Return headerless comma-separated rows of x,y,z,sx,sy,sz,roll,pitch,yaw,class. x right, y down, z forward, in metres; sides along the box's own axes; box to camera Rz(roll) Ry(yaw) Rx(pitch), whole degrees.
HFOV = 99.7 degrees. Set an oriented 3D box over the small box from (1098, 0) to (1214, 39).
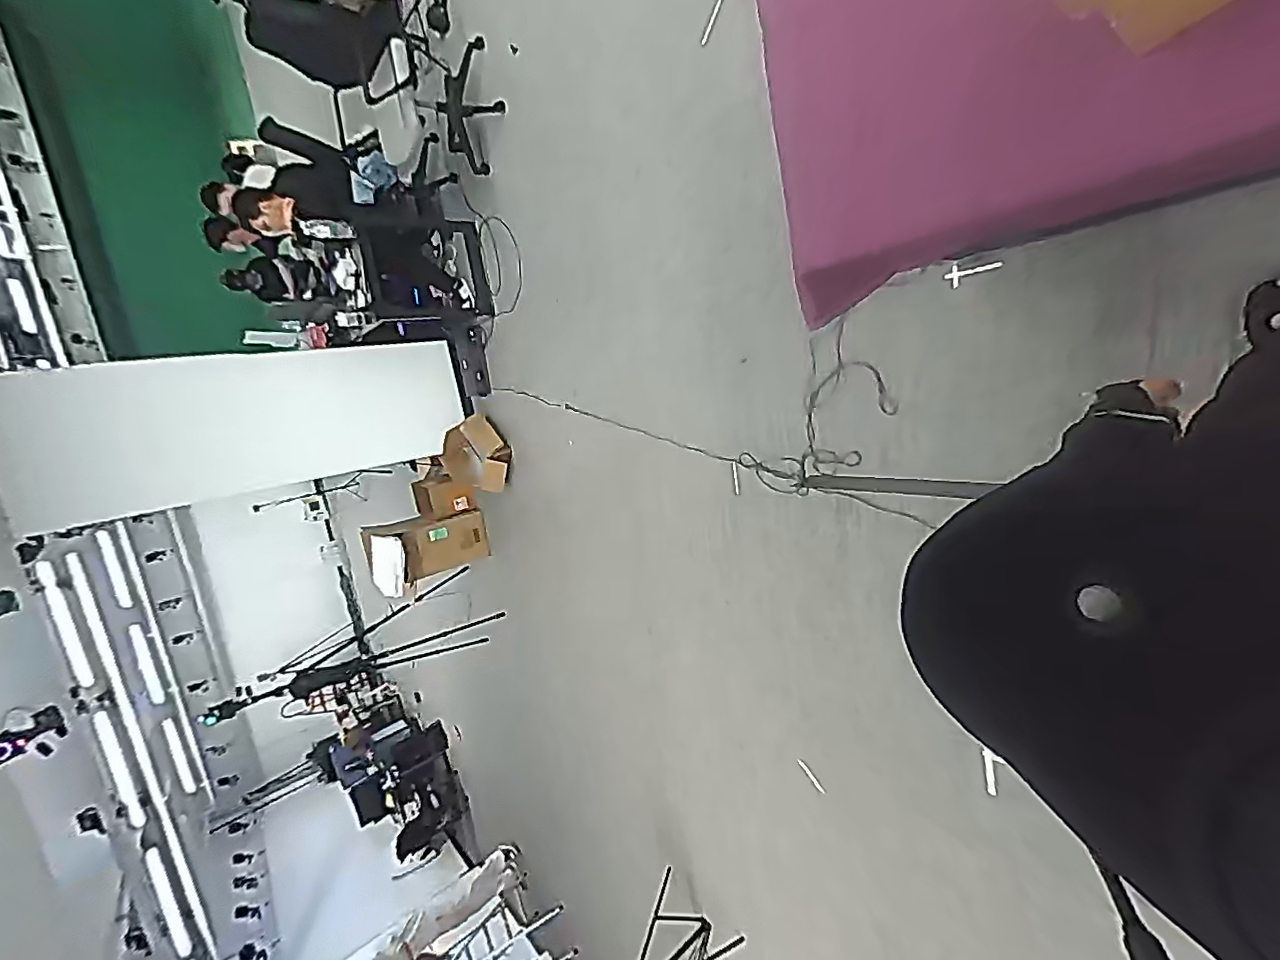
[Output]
0.530,-0.561,0.494,0.179,0.176,0.168,-14,93,52,small box
